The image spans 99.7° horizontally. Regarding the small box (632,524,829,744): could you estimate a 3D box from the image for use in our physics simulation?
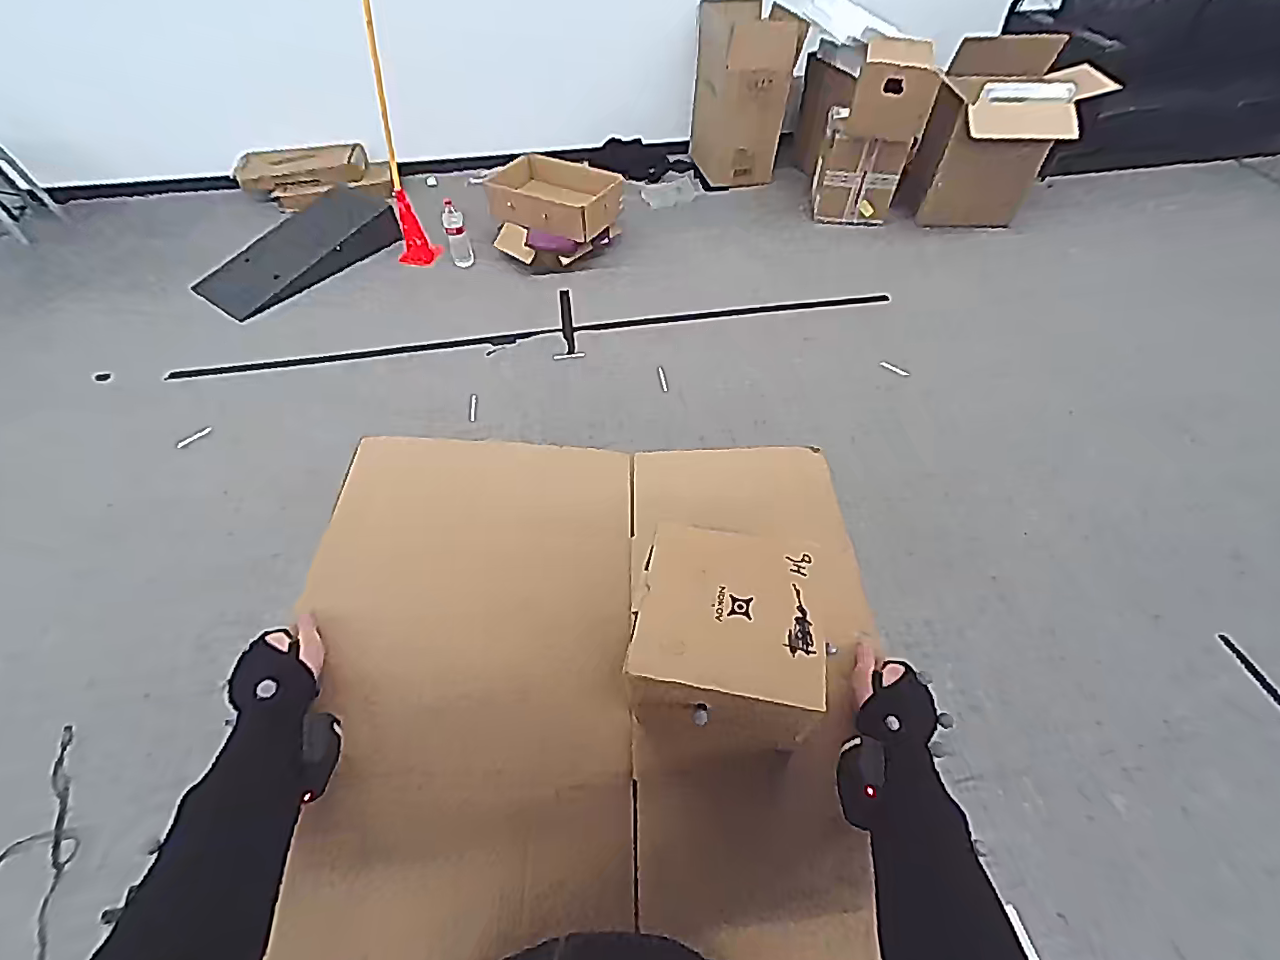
[{"bbox_3d":[0.099,0.169,0.585,0.179,0.176,0.168,7,54,11],"label":"small box"}]
